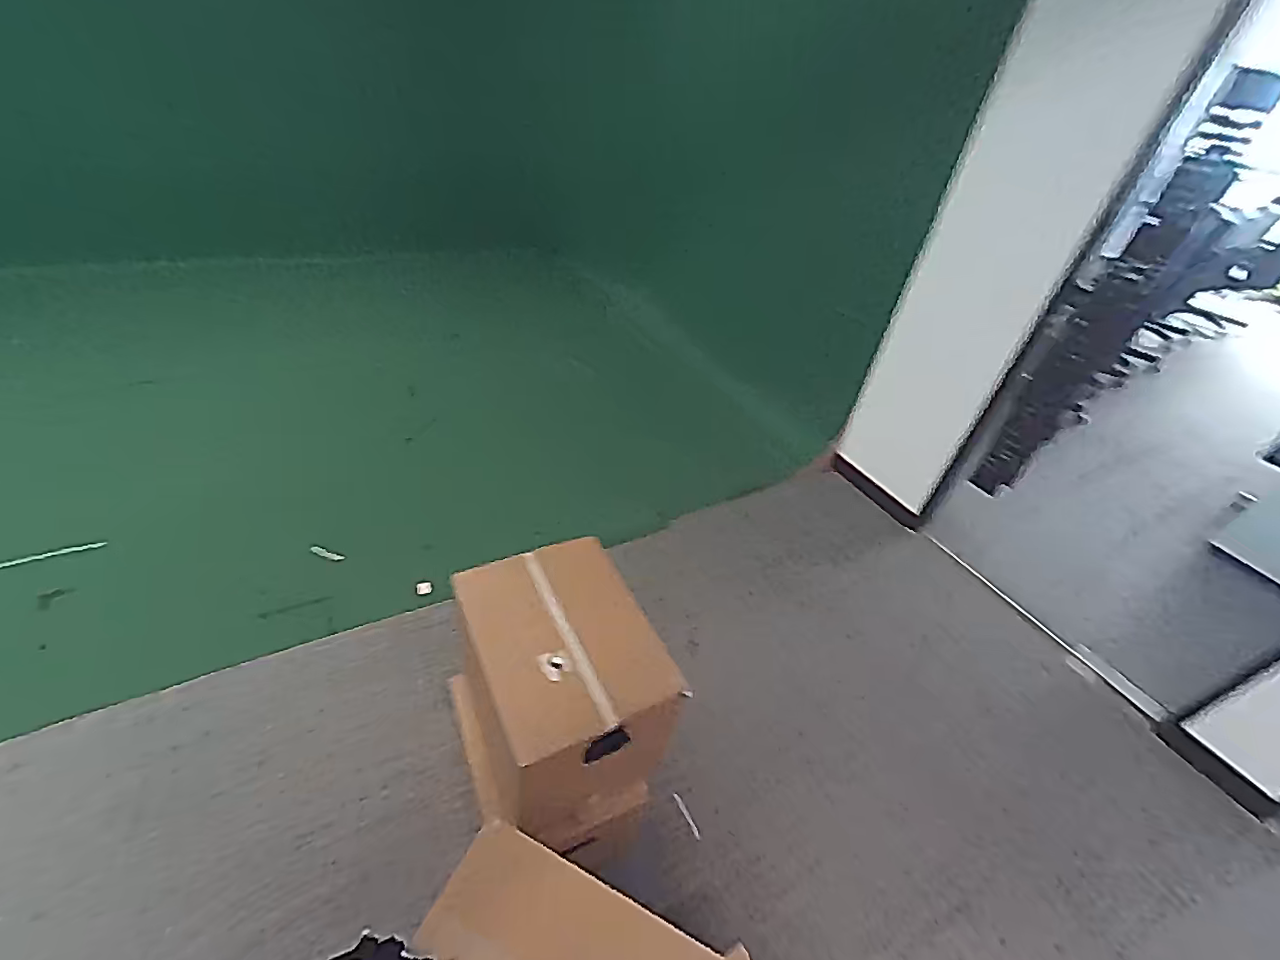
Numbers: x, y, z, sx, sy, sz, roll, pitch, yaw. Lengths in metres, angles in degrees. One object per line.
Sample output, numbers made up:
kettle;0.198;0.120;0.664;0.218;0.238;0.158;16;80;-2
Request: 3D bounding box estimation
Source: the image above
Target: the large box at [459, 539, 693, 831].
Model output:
large box;-0.158;0.391;1.099;0.320;0.320;0.408;-12;45;-28
